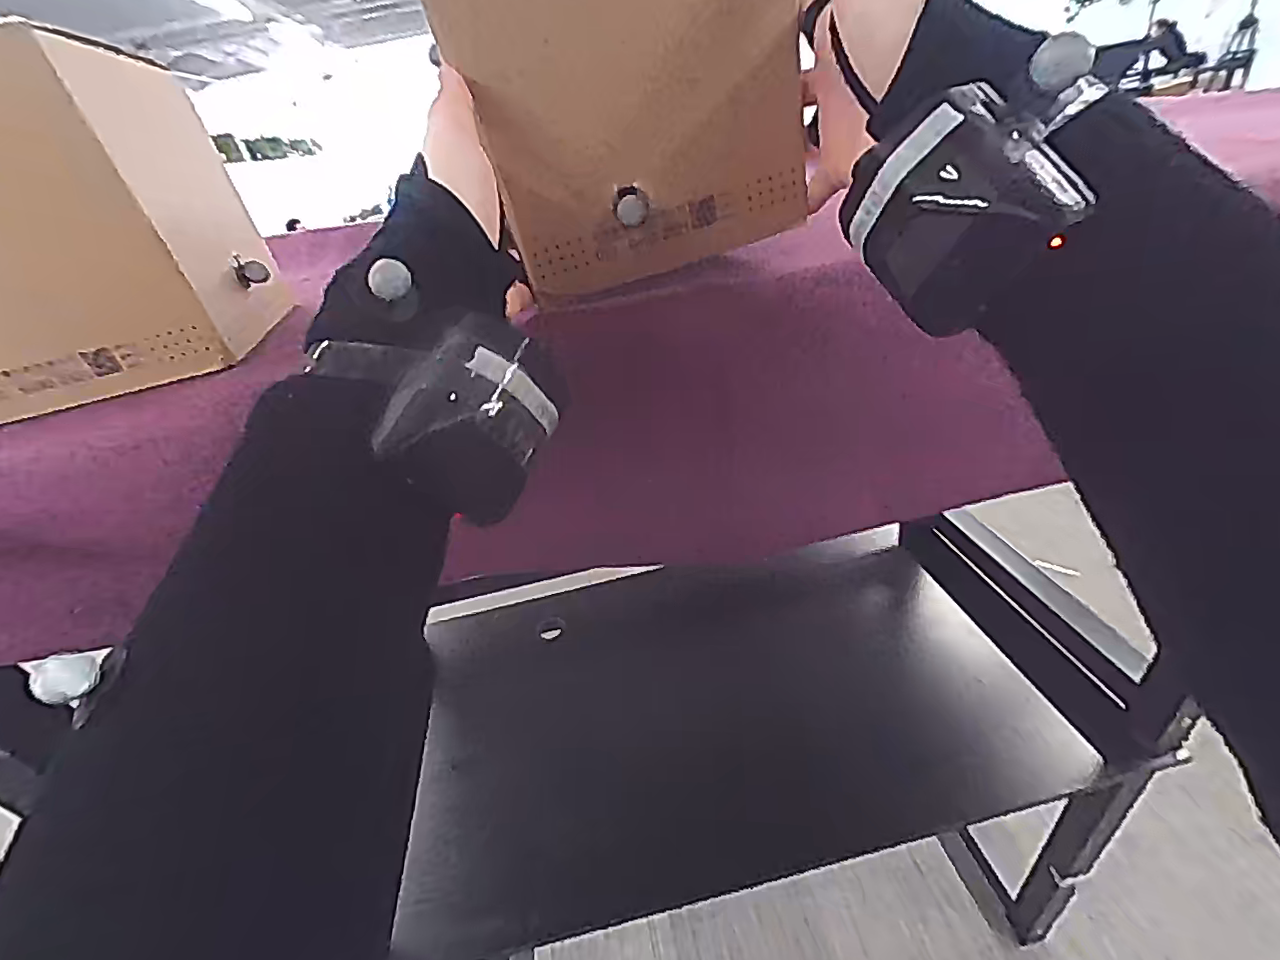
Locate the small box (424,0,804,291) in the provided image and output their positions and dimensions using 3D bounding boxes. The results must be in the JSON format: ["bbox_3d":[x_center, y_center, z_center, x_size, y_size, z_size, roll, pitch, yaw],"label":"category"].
[{"bbox_3d":[-0.016,-0.236,0.319,0.168,0.176,0.179,-18,40,2],"label":"small box"}]

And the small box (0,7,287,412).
[{"bbox_3d":[-0.358,-0.156,0.337,0.168,0.176,0.179,-18,33,-10],"label":"small box"}]
